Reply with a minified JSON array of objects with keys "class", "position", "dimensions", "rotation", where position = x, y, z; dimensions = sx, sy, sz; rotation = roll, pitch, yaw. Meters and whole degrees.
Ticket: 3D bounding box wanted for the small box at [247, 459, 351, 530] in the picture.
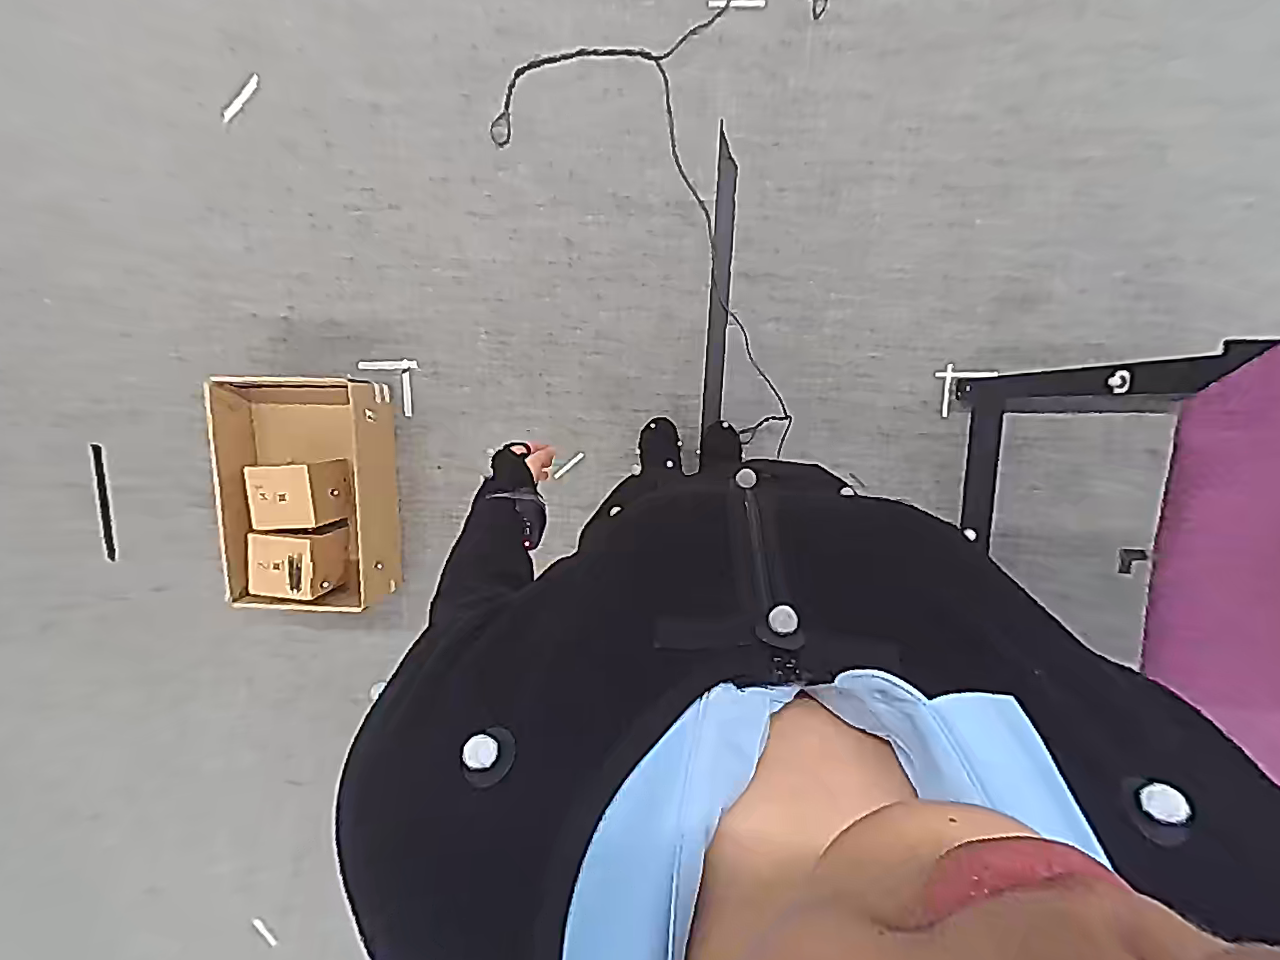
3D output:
[{"class":"small box","position":[-0.910,0.035,1.463],"dimensions":[0.179,0.176,0.168],"rotation":[-2,97,5]}]
